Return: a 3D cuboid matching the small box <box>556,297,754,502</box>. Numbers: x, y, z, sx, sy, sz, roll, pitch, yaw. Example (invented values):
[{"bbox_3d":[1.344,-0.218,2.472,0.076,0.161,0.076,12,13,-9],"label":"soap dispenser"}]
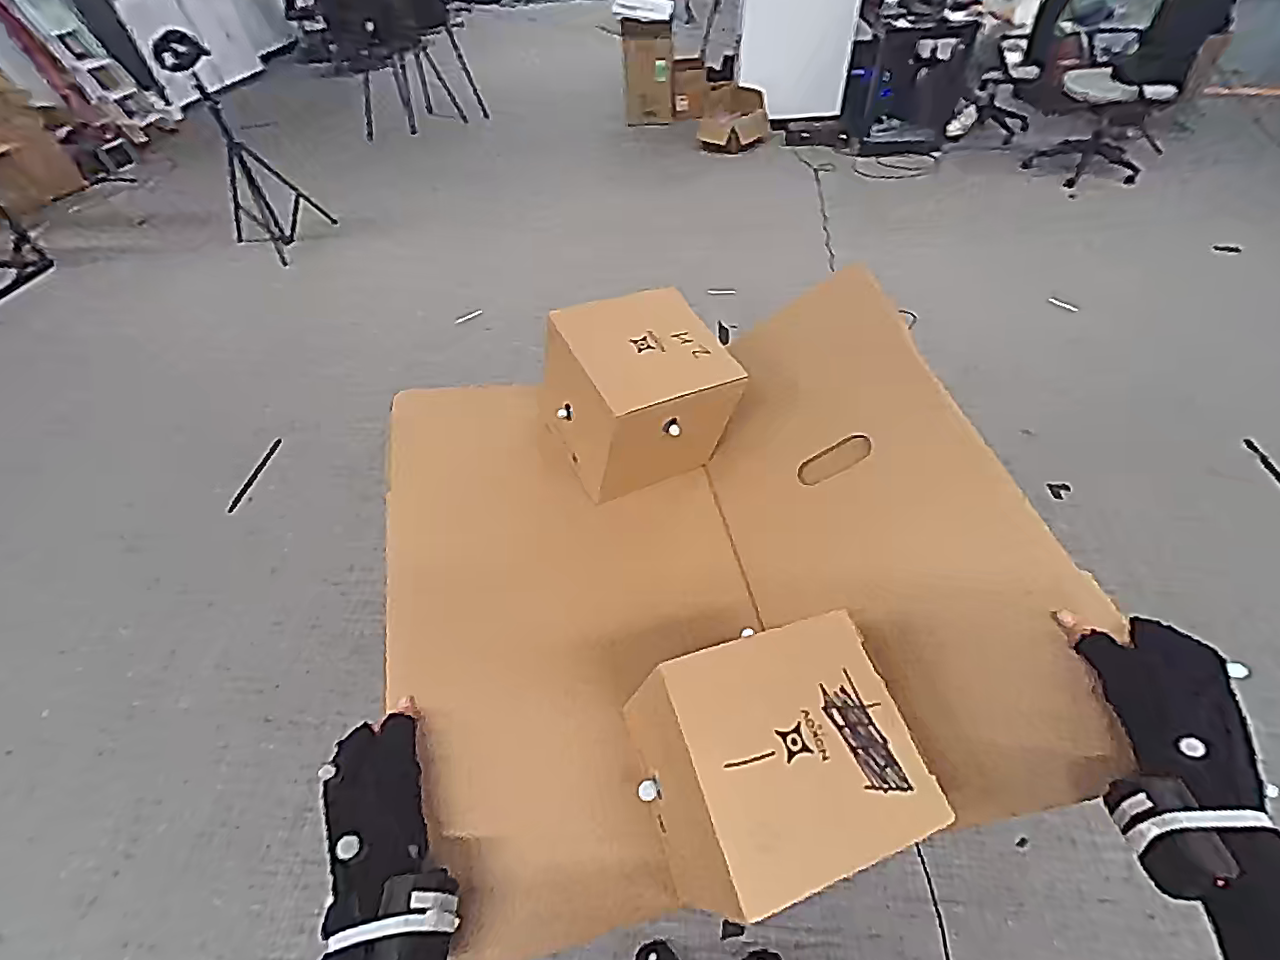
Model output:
[{"bbox_3d":[0.005,-0.096,0.671,0.179,0.176,0.168,-19,62,-24],"label":"small box"}]
